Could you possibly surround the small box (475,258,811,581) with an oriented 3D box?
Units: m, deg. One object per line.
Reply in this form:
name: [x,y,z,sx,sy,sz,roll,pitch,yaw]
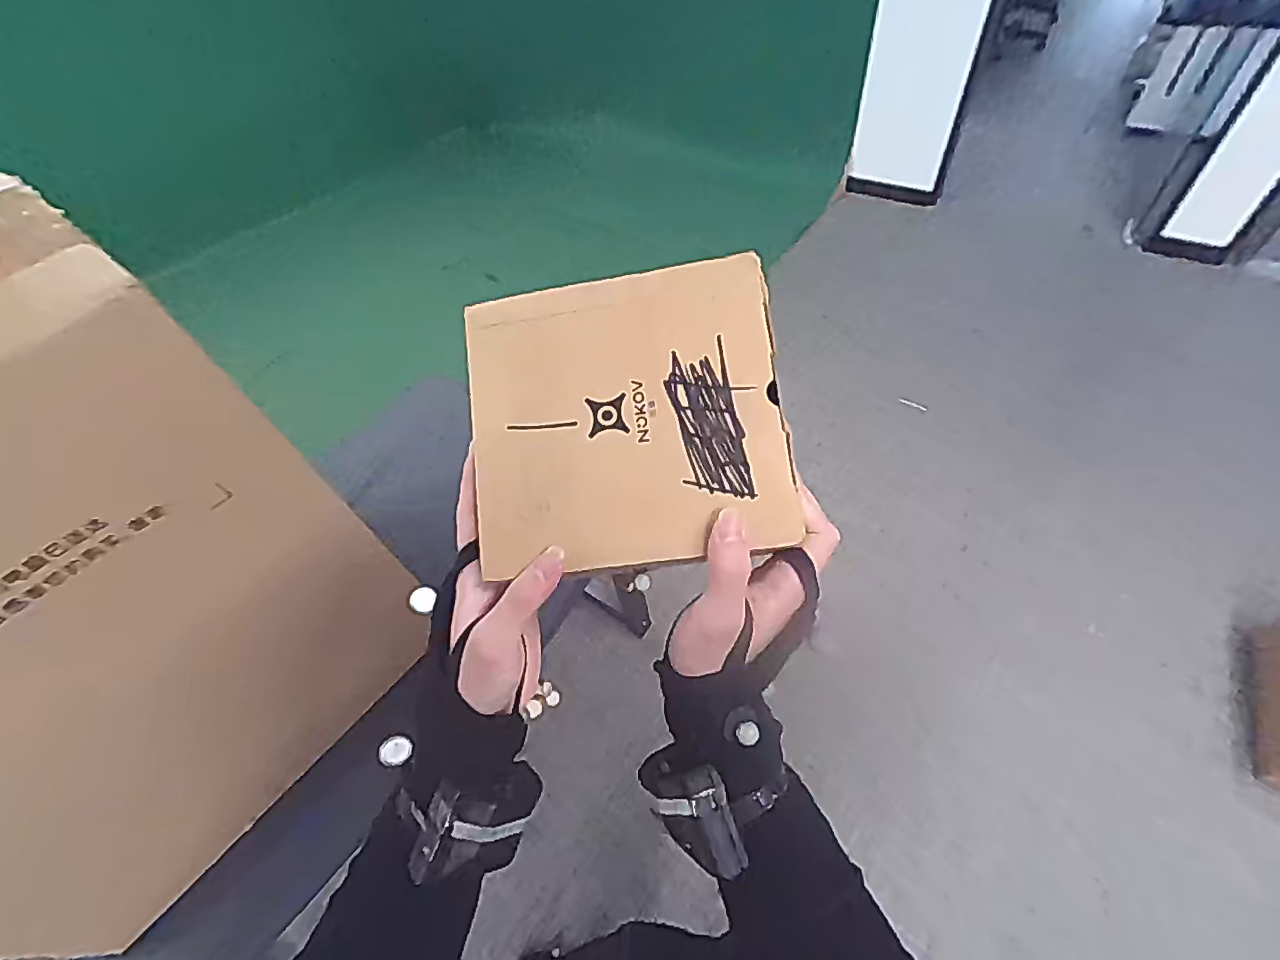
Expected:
small box: [0.005,-0.023,0.379,0.179,0.176,0.168,-8,79,7]
